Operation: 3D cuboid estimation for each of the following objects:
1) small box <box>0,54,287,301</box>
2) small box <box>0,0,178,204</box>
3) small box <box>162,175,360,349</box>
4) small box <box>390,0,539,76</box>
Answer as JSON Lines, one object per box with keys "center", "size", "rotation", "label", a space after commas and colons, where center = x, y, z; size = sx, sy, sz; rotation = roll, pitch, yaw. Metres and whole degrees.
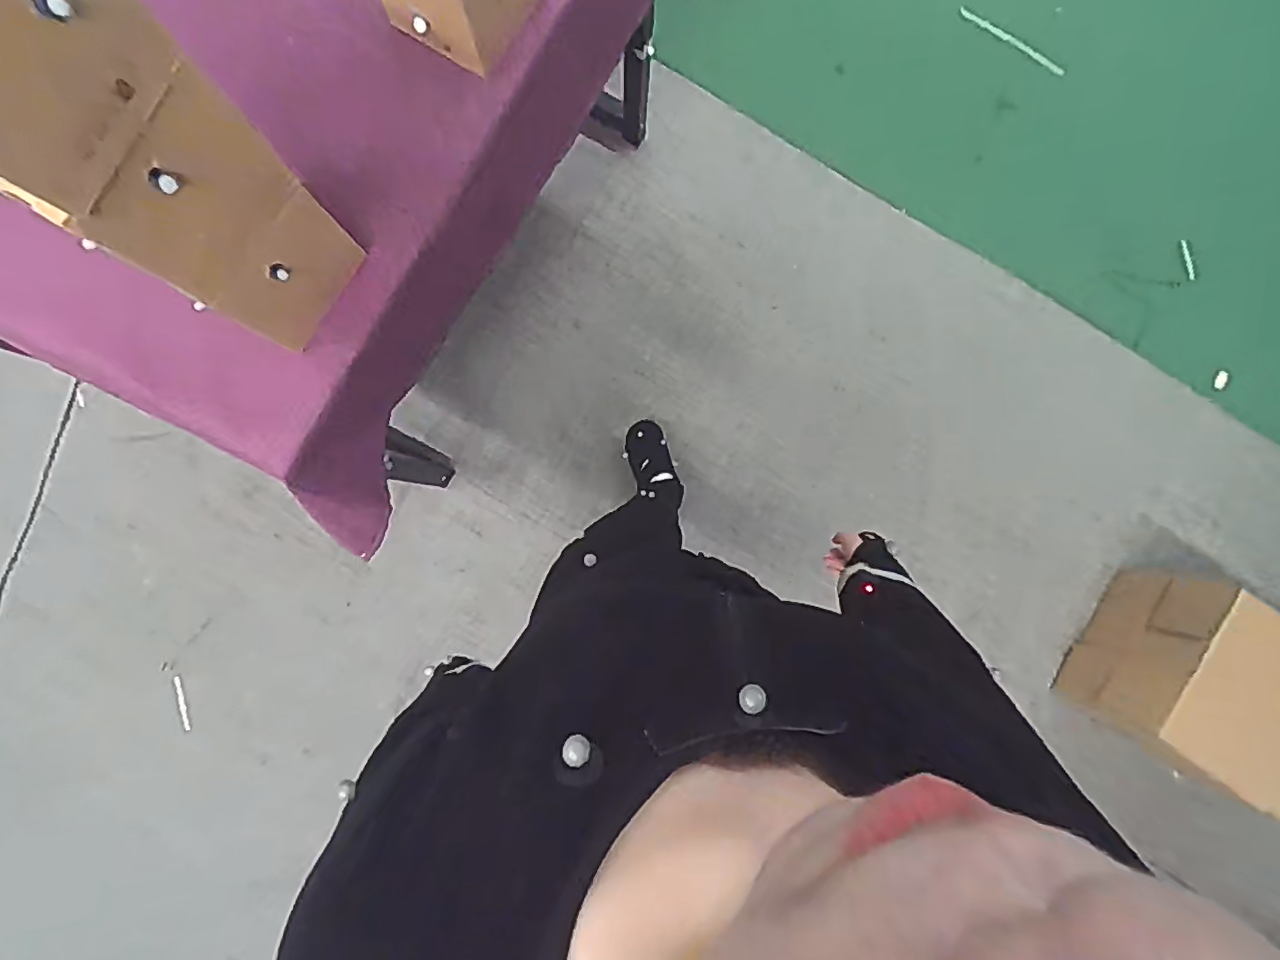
{"center": [-0.491, -0.312, 0.525], "size": [0.168, 0.176, 0.179], "rotation": [31, 87, 0], "label": "small box"}
{"center": [-0.482, -0.324, 0.362], "size": [0.179, 0.176, 0.168], "rotation": [29, 85, 1], "label": "small box"}
{"center": [-0.499, -0.295, 0.687], "size": [0.168, 0.176, 0.179], "rotation": [32, 85, 0], "label": "small box"}
{"center": [-0.247, -0.710, 0.726], "size": [0.168, 0.176, 0.179], "rotation": [31, 86, 1], "label": "small box"}
